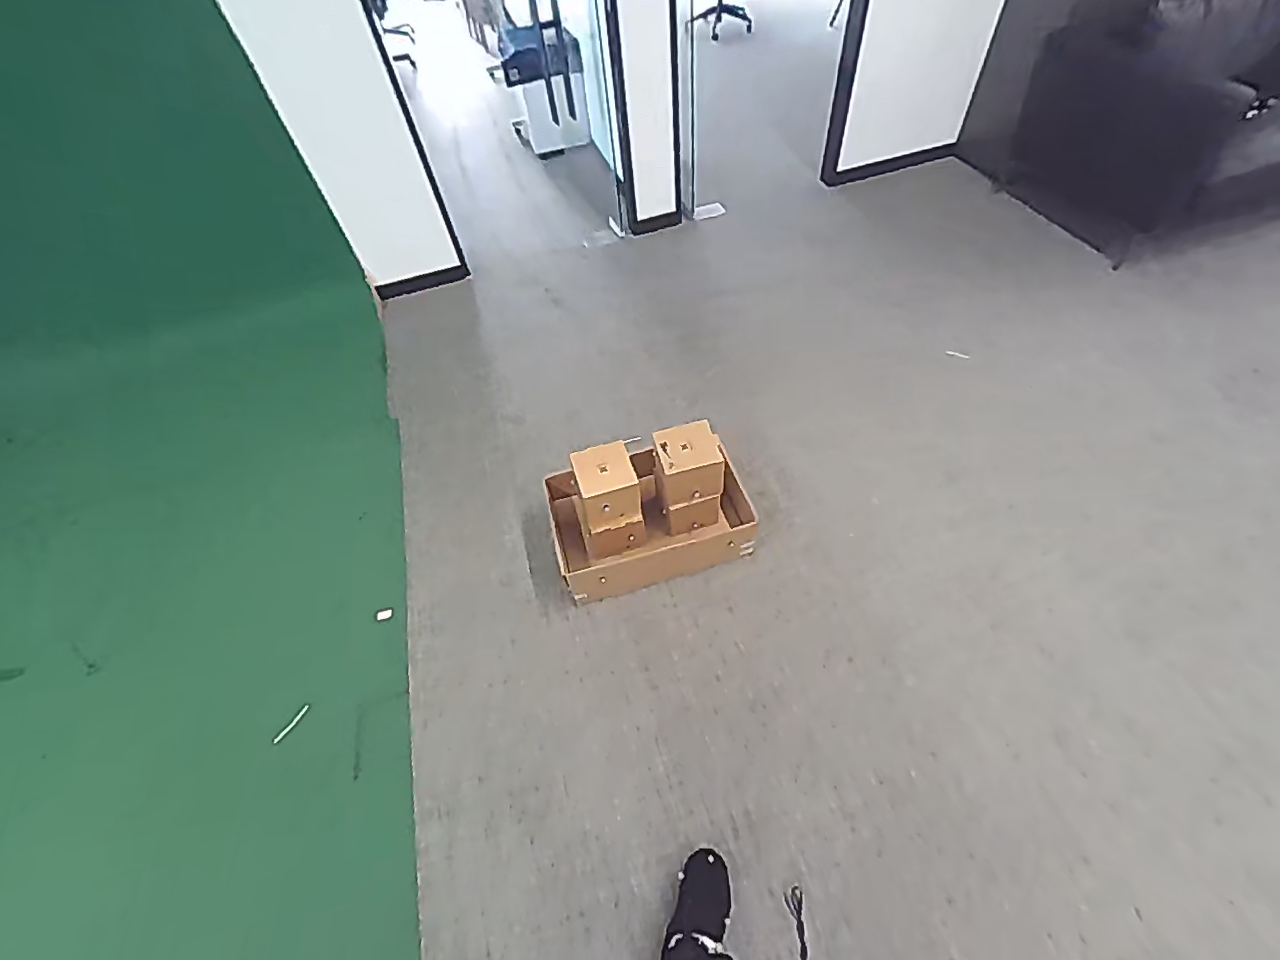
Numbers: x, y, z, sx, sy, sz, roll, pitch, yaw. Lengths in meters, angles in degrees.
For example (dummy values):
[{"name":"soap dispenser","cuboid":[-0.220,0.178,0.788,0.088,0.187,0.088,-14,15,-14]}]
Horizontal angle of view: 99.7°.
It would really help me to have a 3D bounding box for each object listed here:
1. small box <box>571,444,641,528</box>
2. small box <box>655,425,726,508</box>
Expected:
[{"name":"small box","cuboid":[-0.098,0.026,1.621,0.168,0.176,0.179,-16,52,-9]},{"name":"small box","cuboid":[0.150,-0.037,1.638,0.179,0.176,0.168,-13,53,-4]}]
